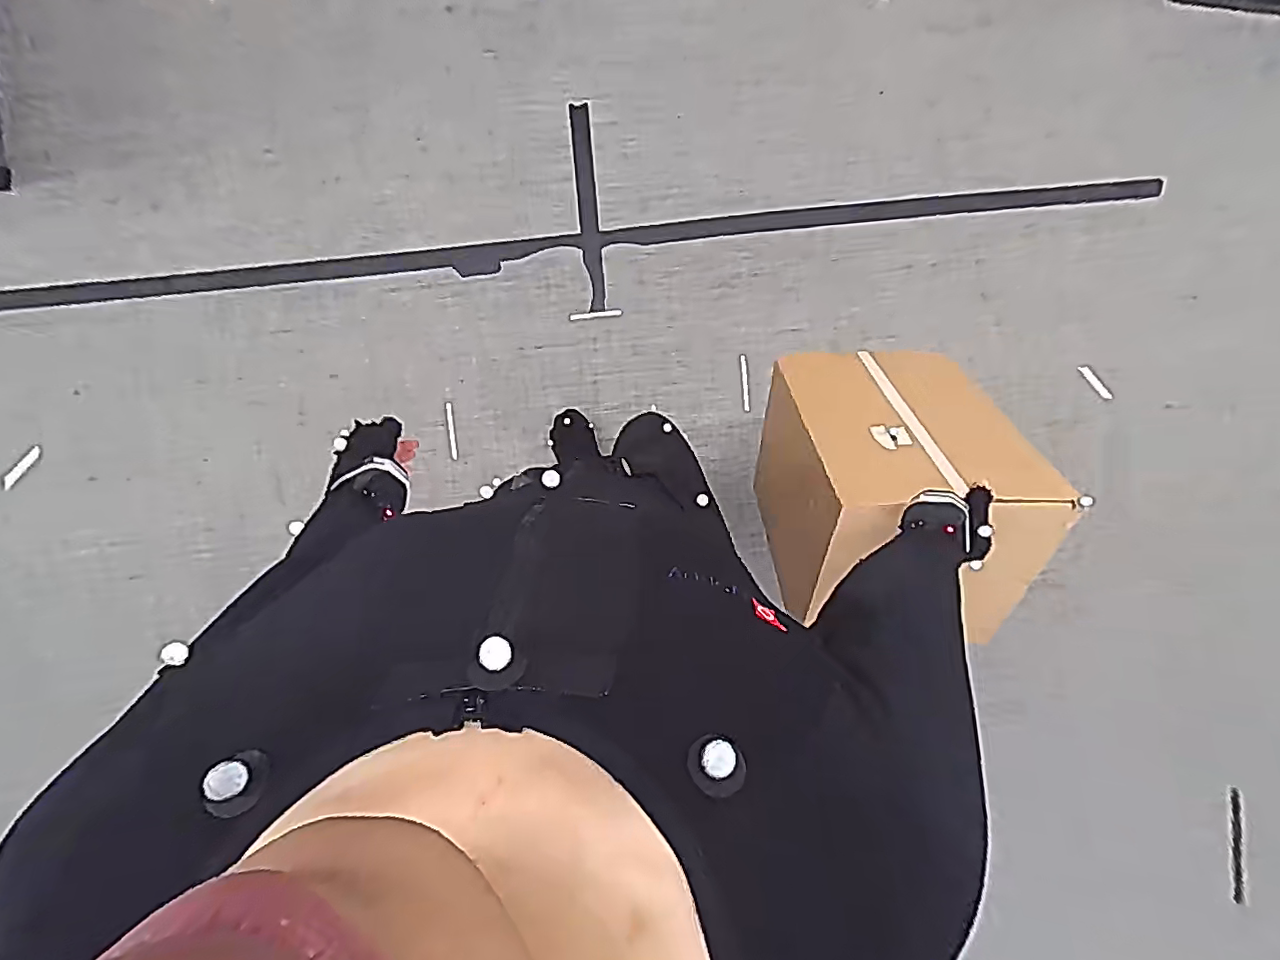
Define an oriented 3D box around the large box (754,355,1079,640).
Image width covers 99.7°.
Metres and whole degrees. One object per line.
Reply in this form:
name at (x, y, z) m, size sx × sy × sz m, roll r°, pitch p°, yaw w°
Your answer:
large box at (0.408, 0.019, 0.939) m, size 0.320 × 0.408 × 0.320 m, roll -1°, pitch 131°, yaw -1°
